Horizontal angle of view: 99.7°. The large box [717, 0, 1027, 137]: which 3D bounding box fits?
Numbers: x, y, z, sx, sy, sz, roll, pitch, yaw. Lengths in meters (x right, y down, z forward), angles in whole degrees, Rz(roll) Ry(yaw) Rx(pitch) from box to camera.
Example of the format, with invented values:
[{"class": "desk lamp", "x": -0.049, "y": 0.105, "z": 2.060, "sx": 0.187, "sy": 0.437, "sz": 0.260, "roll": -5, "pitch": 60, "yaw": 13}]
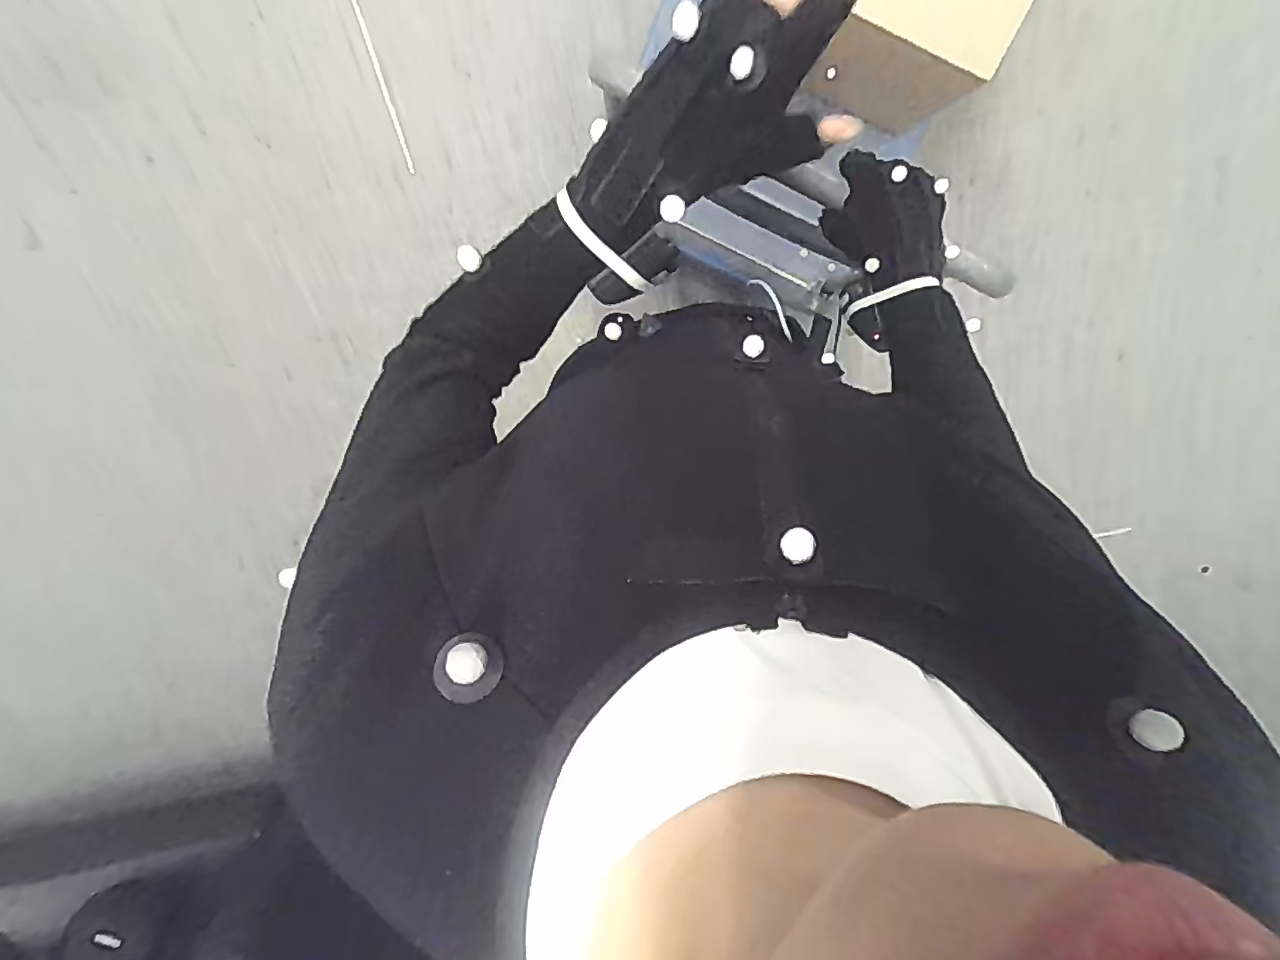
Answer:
[{"class": "large box", "x": 0.381, "y": -0.829, "z": 0.878, "sx": 0.408, "sy": 0.320, "sz": 0.320, "roll": 20, "pitch": 108, "yaw": -6}]
